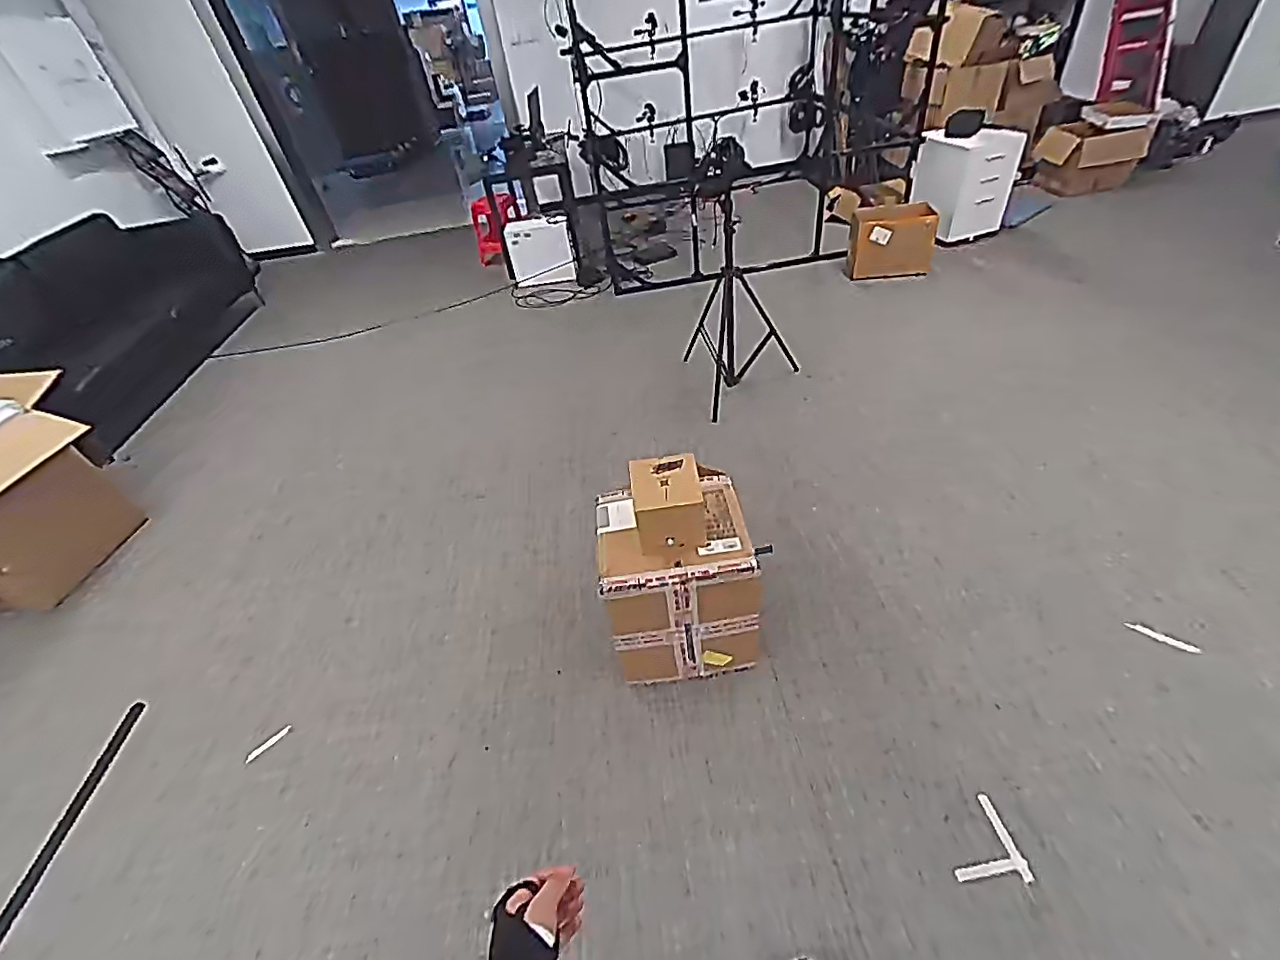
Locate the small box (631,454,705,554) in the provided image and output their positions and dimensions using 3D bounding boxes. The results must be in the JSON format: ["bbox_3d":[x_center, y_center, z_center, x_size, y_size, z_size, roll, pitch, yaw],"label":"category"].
[{"bbox_3d":[0.070,0.061,1.356,0.168,0.176,0.179,-8,45,2],"label":"small box"}]
